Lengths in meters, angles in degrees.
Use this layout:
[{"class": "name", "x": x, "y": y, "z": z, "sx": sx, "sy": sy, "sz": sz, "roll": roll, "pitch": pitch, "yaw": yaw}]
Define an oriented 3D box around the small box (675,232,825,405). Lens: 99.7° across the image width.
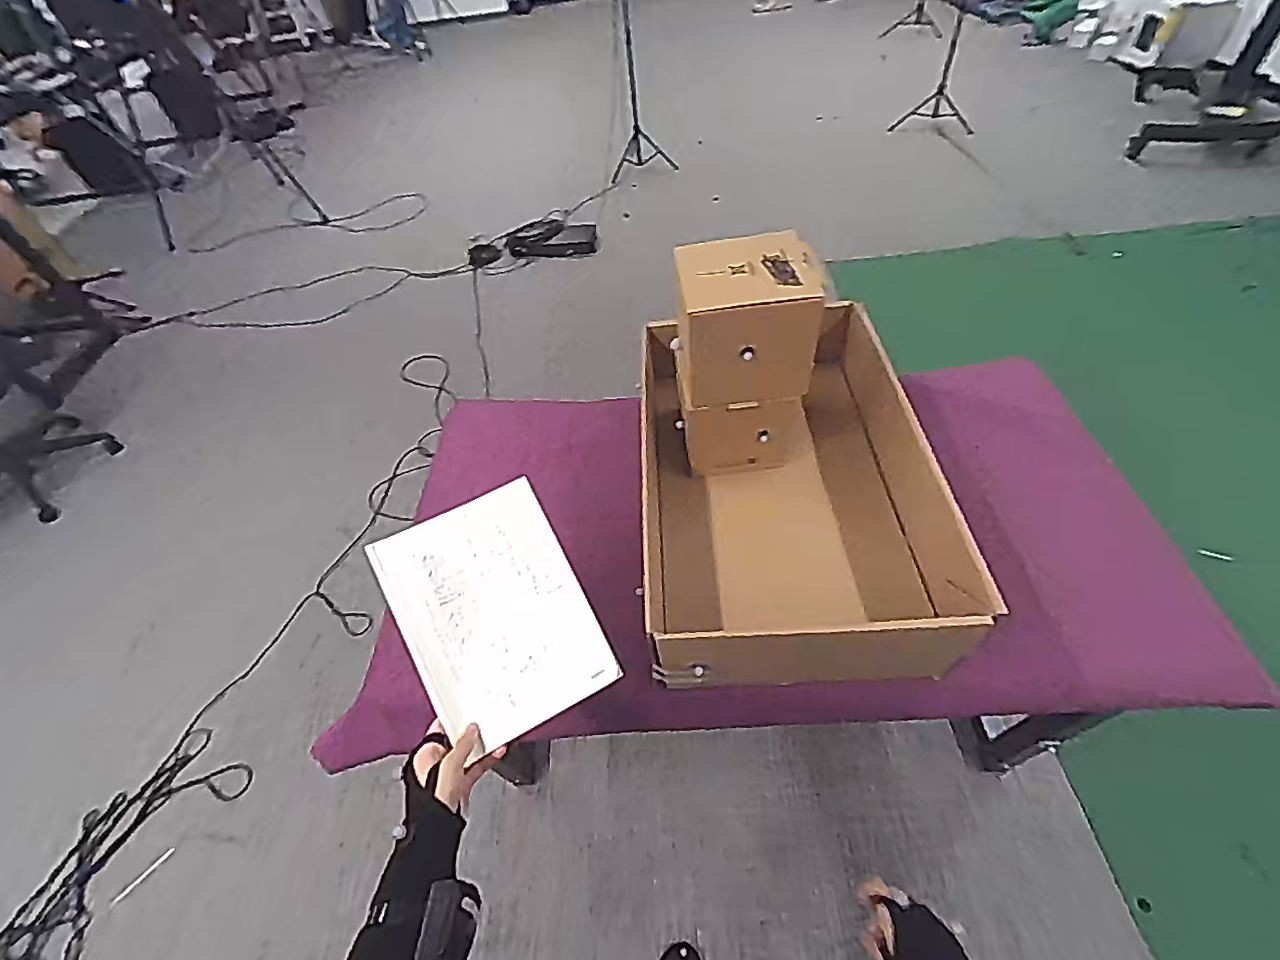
[{"class": "small box", "x": 0.147, "y": -0.230, "z": 0.784, "sx": 0.179, "sy": 0.176, "sz": 0.168, "roll": -7, "pitch": 51, "yaw": 2}]
